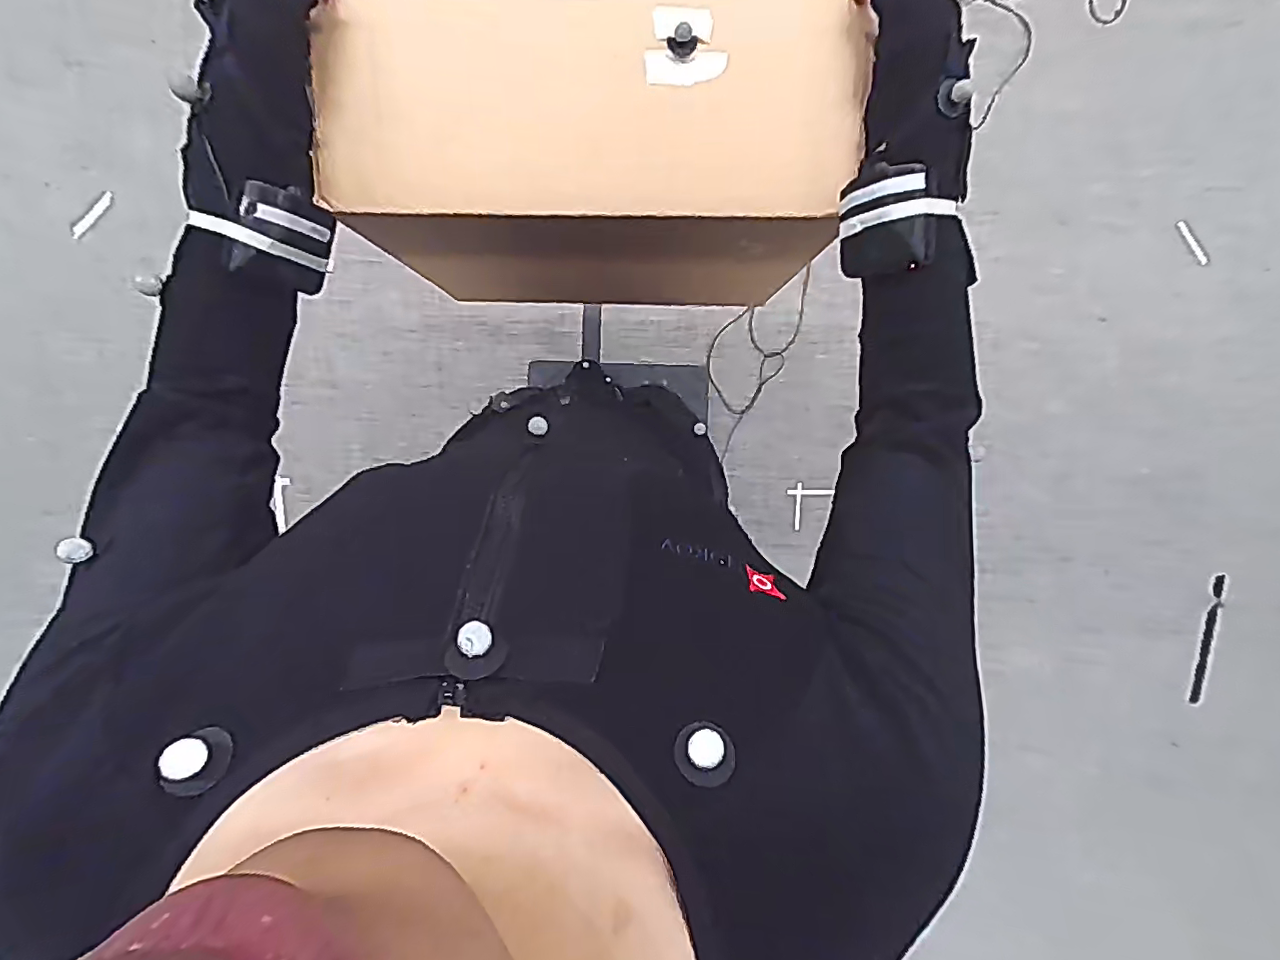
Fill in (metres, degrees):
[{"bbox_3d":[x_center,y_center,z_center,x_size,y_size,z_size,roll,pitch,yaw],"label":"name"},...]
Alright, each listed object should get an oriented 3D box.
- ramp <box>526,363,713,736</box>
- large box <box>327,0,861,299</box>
[{"bbox_3d":[-0.053,0.180,1.462,0.509,0.206,0.991,0,97,1],"label":"ramp"},{"bbox_3d":[-0.036,-0.377,0.548,0.408,0.320,0.320,0,97,-1],"label":"large box"}]
